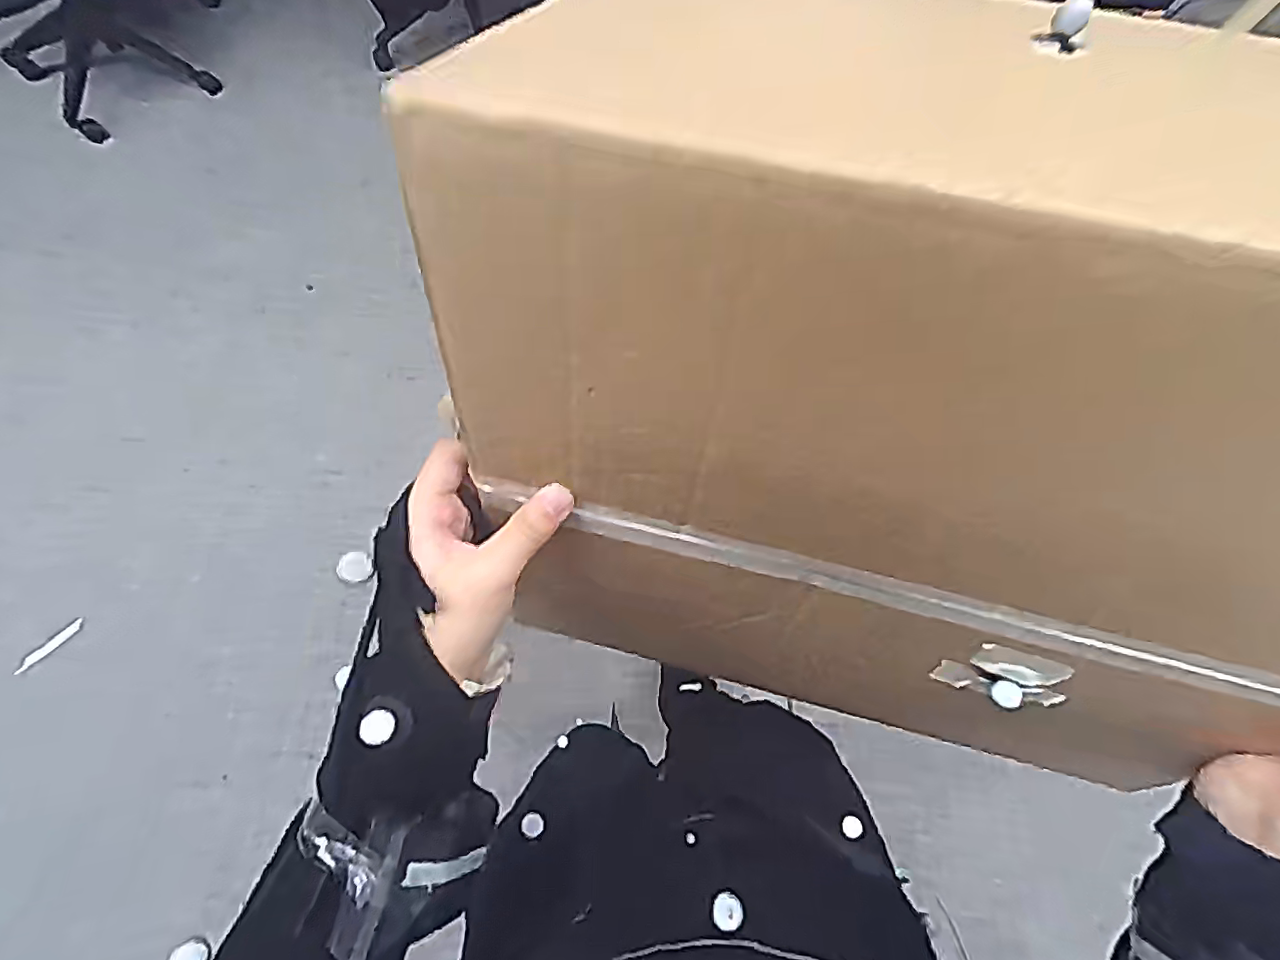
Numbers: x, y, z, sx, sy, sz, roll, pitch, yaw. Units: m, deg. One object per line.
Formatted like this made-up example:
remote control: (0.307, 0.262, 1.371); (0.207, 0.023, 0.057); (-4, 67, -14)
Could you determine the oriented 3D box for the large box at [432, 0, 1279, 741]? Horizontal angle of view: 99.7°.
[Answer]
large box: (0.161, -0.092, 0.324); (0.408, 0.320, 0.320); (12, 51, 6)
